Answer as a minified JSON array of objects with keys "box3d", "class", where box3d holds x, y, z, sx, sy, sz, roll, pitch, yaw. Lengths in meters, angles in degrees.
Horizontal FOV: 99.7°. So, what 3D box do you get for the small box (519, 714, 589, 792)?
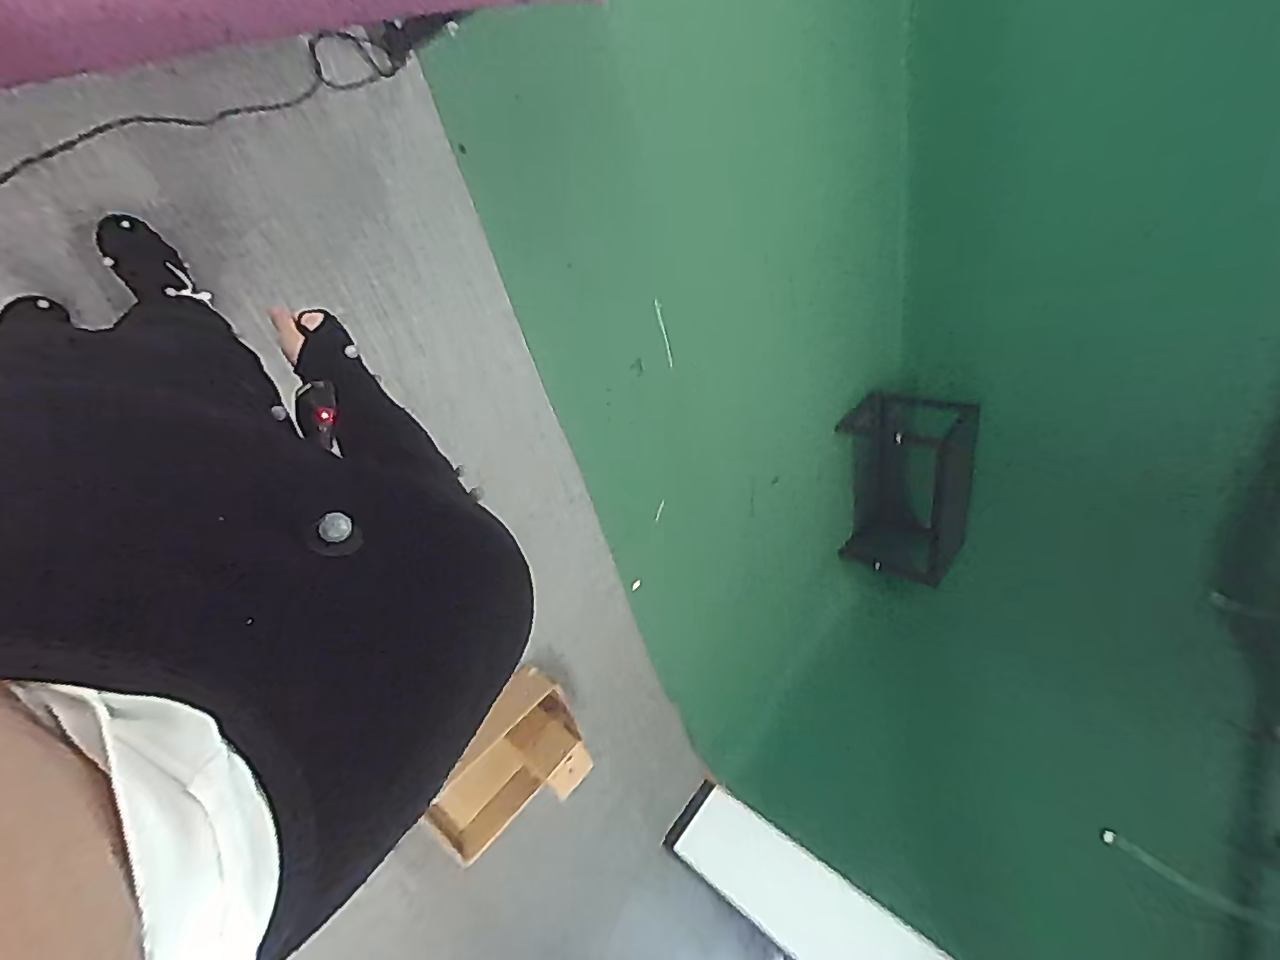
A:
[{"box3d":[-0.329,1.032,2.056,0.168,0.176,0.179,-42,131,-30],"class":"small box"}]
